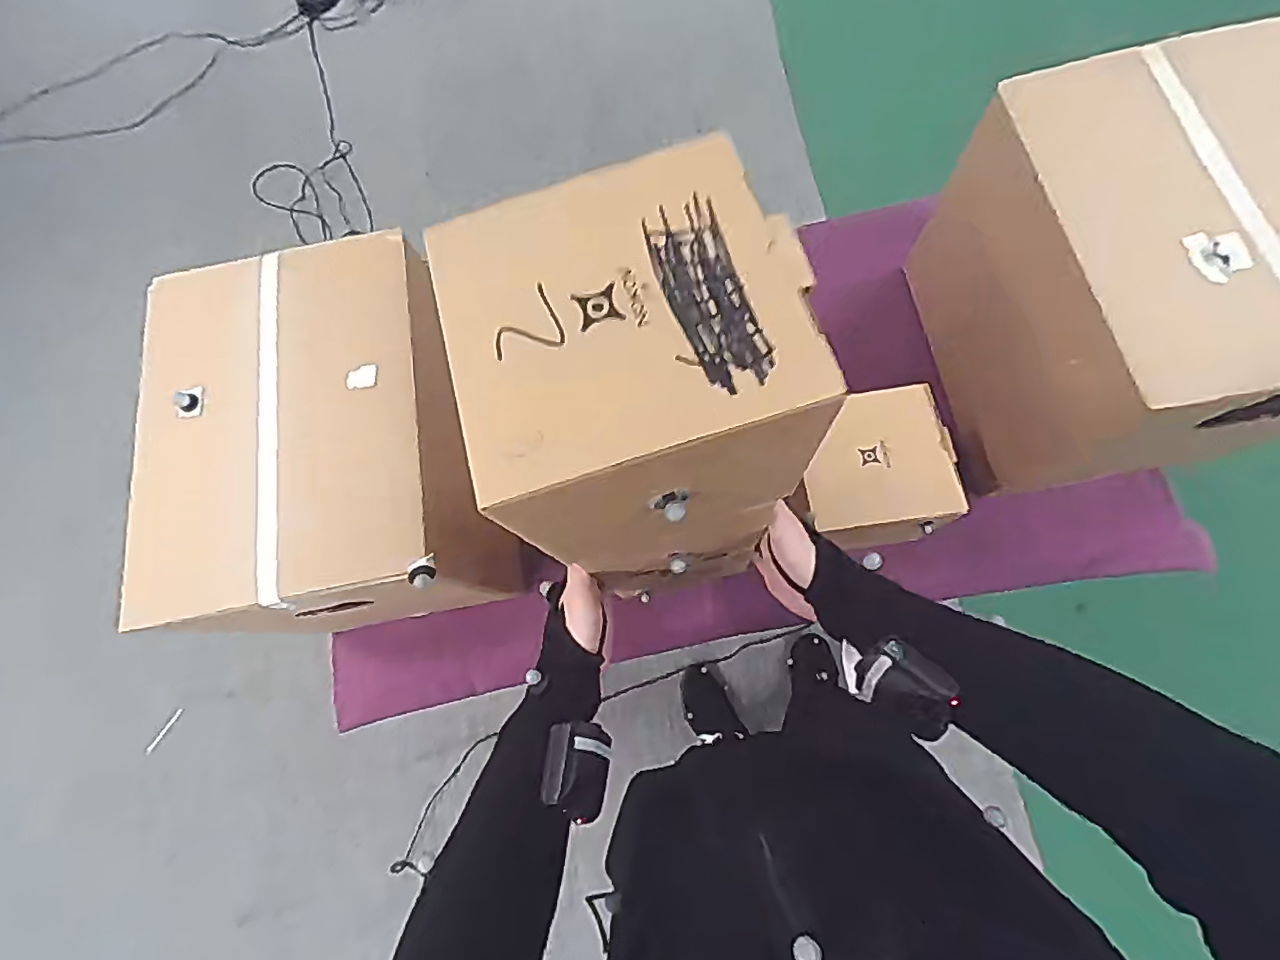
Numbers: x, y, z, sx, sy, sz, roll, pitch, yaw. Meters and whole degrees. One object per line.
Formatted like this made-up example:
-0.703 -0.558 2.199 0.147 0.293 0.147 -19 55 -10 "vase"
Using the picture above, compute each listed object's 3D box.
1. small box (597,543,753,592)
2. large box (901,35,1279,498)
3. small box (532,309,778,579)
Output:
0.030 0.031 0.646 0.168 0.176 0.179 -13 71 2 "small box"
0.586 -0.226 0.674 0.320 0.320 0.408 -11 73 4 "large box"
0.012 -0.020 0.491 0.168 0.176 0.179 -13 72 2 "small box"
